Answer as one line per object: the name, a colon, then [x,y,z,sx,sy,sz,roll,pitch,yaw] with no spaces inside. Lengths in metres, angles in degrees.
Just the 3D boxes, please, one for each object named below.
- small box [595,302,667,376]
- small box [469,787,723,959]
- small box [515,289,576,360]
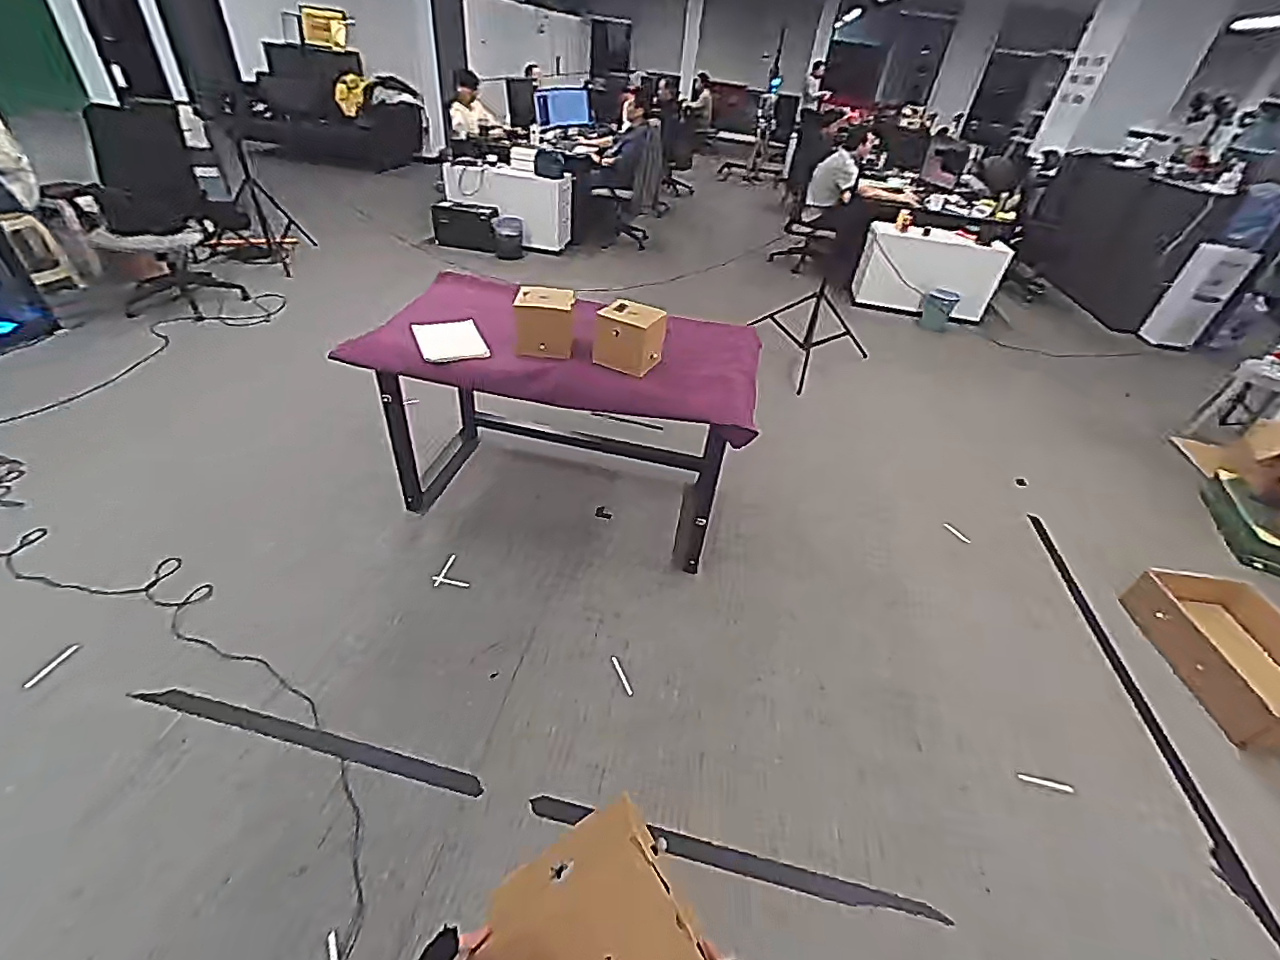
small box: [-0.033,-0.452,1.736,0.179,0.176,0.168,21,40,17]
small box: [-0.040,0.443,0.537,0.179,0.176,0.168,-31,76,-14]
small box: [-0.306,-0.504,1.763,0.179,0.176,0.168,4,38,-4]
